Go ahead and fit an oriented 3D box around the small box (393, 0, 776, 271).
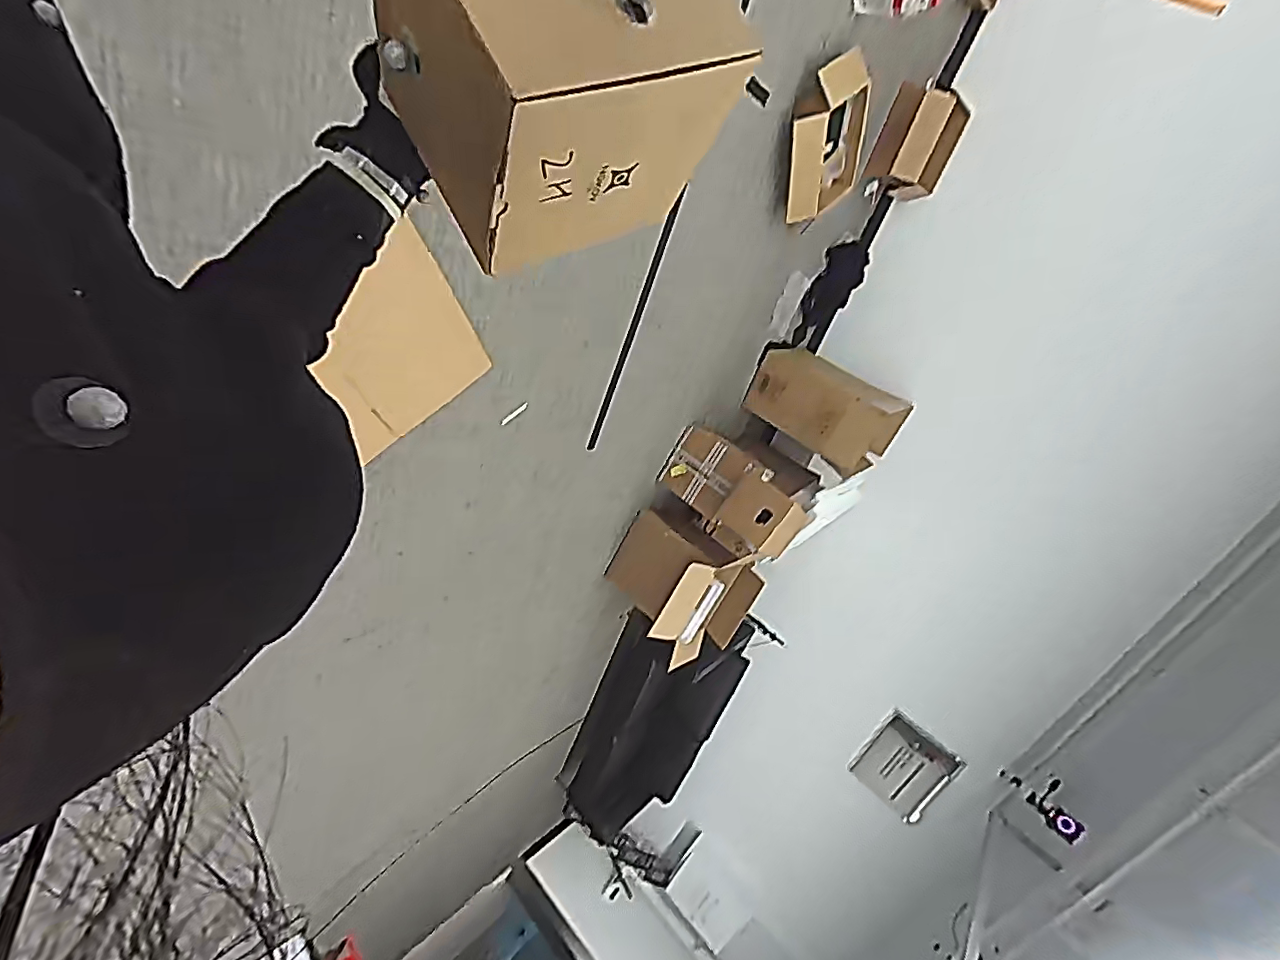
[{"bbox_3d":[-0.049,-0.283,0.375,0.179,0.176,0.168,-28,179,-23],"label":"small box"}]
